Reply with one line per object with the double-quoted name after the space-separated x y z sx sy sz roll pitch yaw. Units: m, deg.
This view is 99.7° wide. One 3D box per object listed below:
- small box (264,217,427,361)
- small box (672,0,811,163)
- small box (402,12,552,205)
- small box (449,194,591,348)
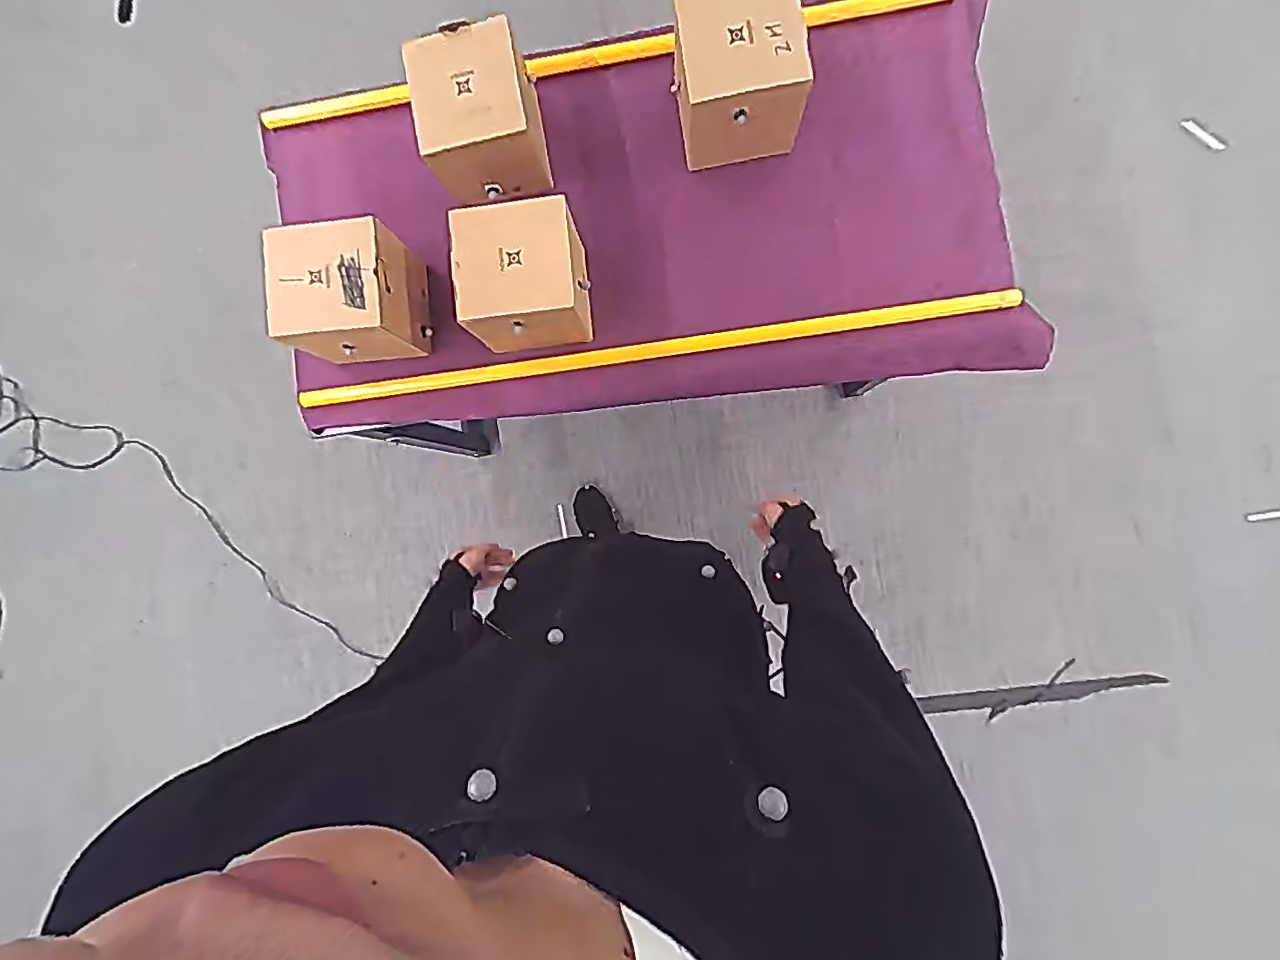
-0.458 -0.297 0.870 0.179 0.176 0.168 -4 88 4 "small box"
0.148 -0.621 0.831 0.179 0.176 0.168 -8 89 4 "small box"
-0.250 -0.576 0.863 0.168 0.176 0.179 -11 89 5 "small box"
-0.176 -0.316 0.851 0.179 0.176 0.168 -6 88 5 "small box"
